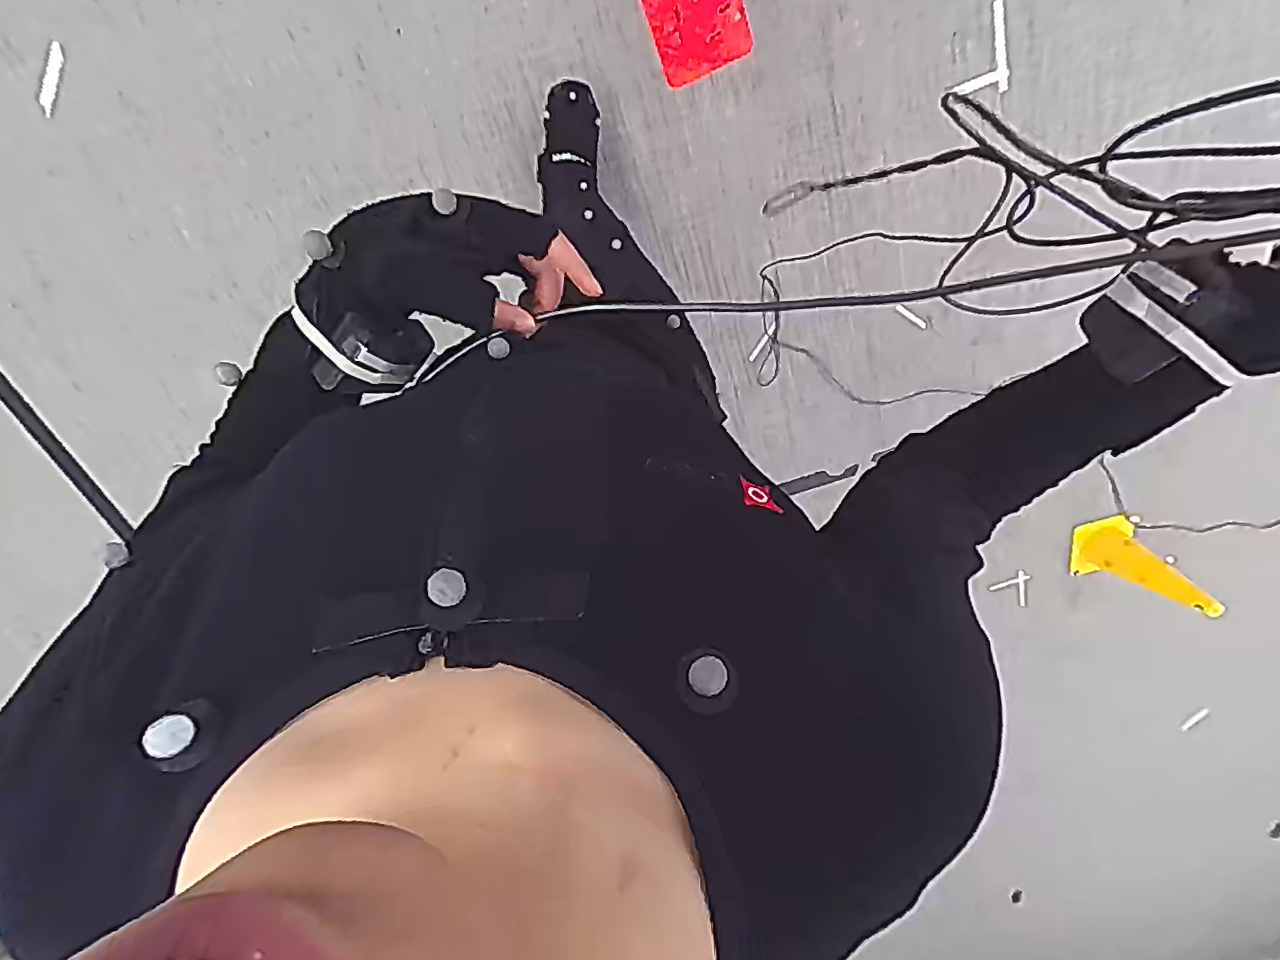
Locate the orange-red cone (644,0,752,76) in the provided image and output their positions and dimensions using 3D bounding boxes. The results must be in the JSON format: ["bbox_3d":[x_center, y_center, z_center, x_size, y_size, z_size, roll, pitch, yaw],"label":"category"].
[{"bbox_3d":[0.128,-0.894,0.947,0.199,0.360,0.198,-22,114,6],"label":"orange-red cone"}]
